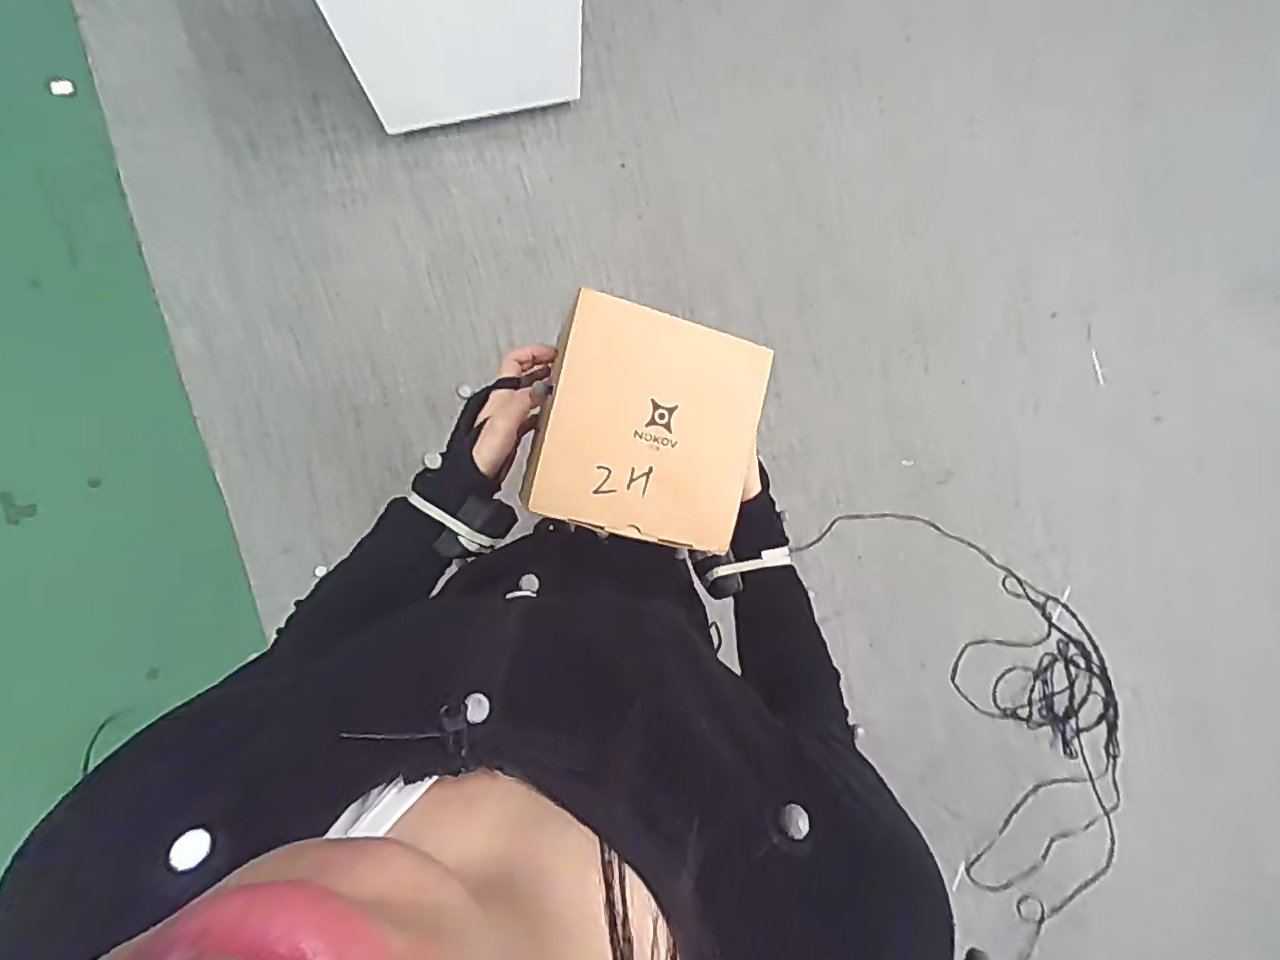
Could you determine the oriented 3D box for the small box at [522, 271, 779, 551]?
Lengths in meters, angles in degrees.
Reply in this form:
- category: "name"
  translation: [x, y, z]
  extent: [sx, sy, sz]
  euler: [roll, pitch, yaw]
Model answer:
- category: "small box"
  translation: [-0.005, -0.048, 0.480]
  extent: [0.168, 0.176, 0.179]
  euler: [14, 87, -14]
